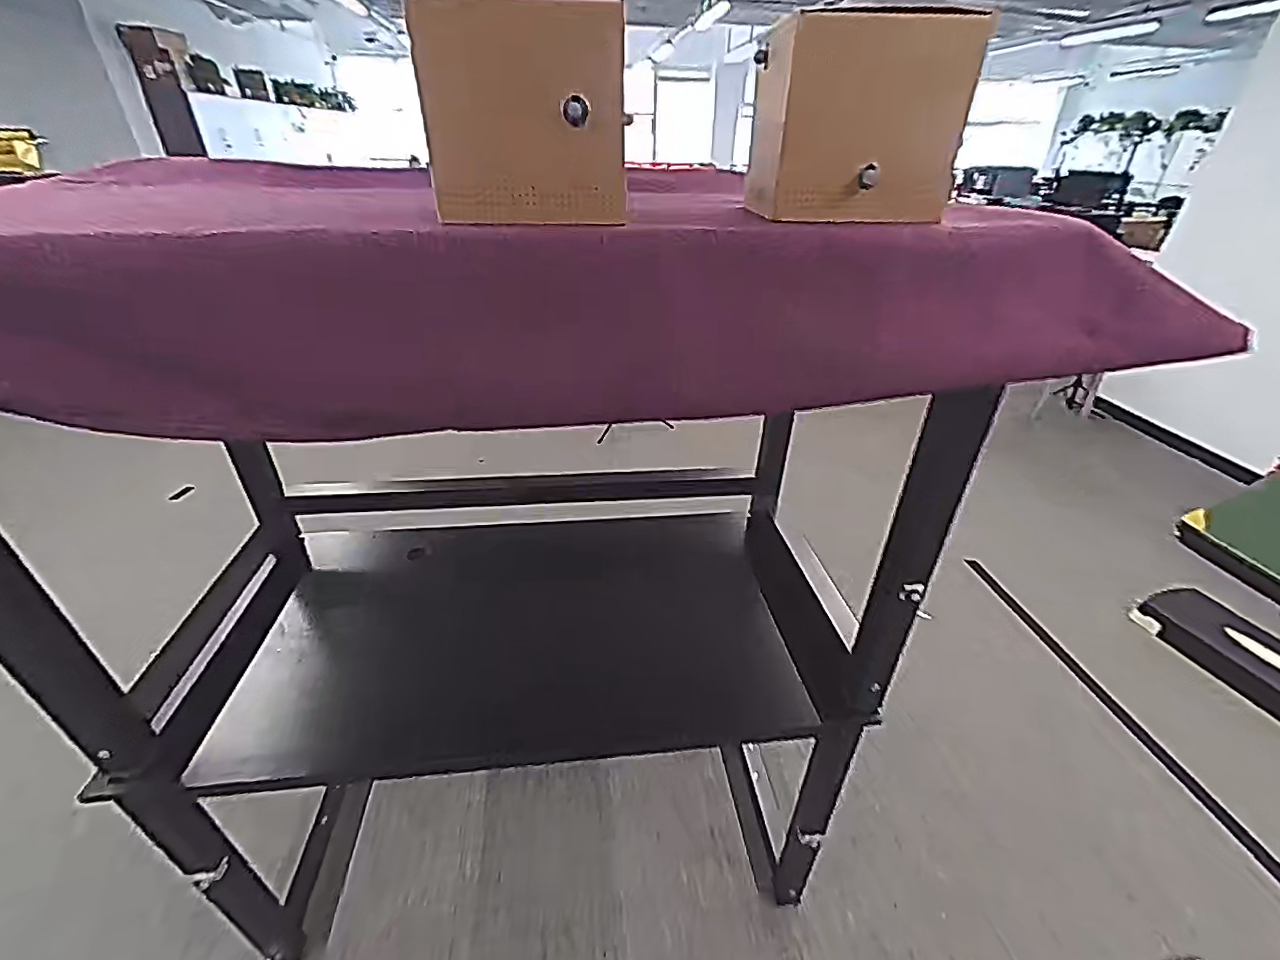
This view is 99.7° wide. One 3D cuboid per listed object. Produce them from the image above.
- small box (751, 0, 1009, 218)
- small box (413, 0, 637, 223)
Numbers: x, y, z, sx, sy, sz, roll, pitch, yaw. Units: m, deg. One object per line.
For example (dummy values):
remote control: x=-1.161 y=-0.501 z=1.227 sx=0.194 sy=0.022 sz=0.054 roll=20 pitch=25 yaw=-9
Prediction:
small box: x=0.225 y=-0.375 z=0.563 sx=0.179 sy=0.176 sz=0.168 roll=0 pitch=31 yaw=-1
small box: x=-0.096 y=-0.353 z=0.526 sx=0.179 sy=0.176 sz=0.168 roll=-2 pitch=31 yaw=-3
